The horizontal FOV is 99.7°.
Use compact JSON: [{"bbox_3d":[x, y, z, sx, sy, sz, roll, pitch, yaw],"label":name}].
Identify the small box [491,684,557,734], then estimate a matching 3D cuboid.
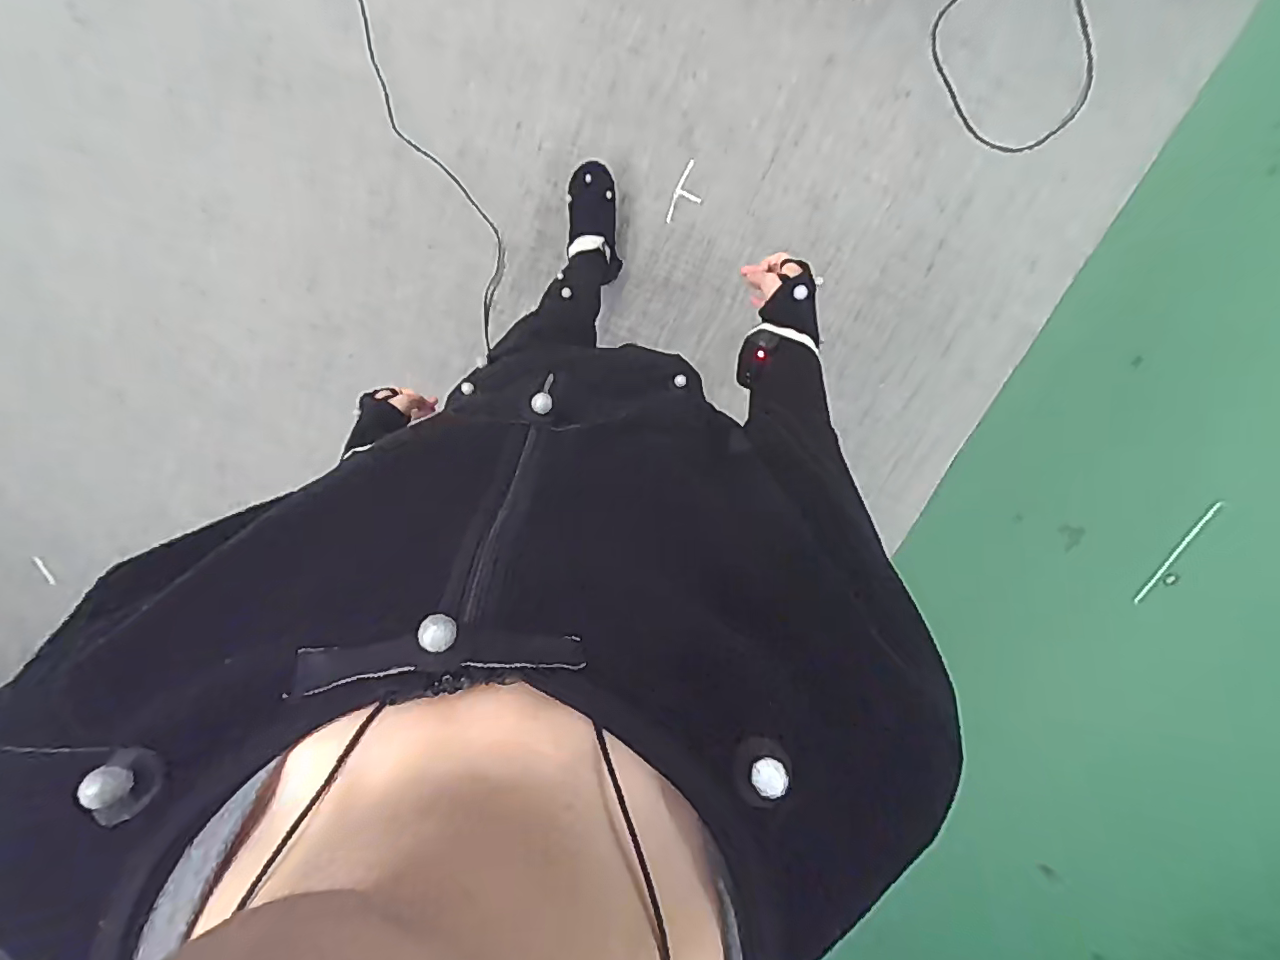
[{"bbox_3d":[-0.375,0.773,1.702,0.179,0.176,0.168,19,107,-7],"label":"small box"}]
